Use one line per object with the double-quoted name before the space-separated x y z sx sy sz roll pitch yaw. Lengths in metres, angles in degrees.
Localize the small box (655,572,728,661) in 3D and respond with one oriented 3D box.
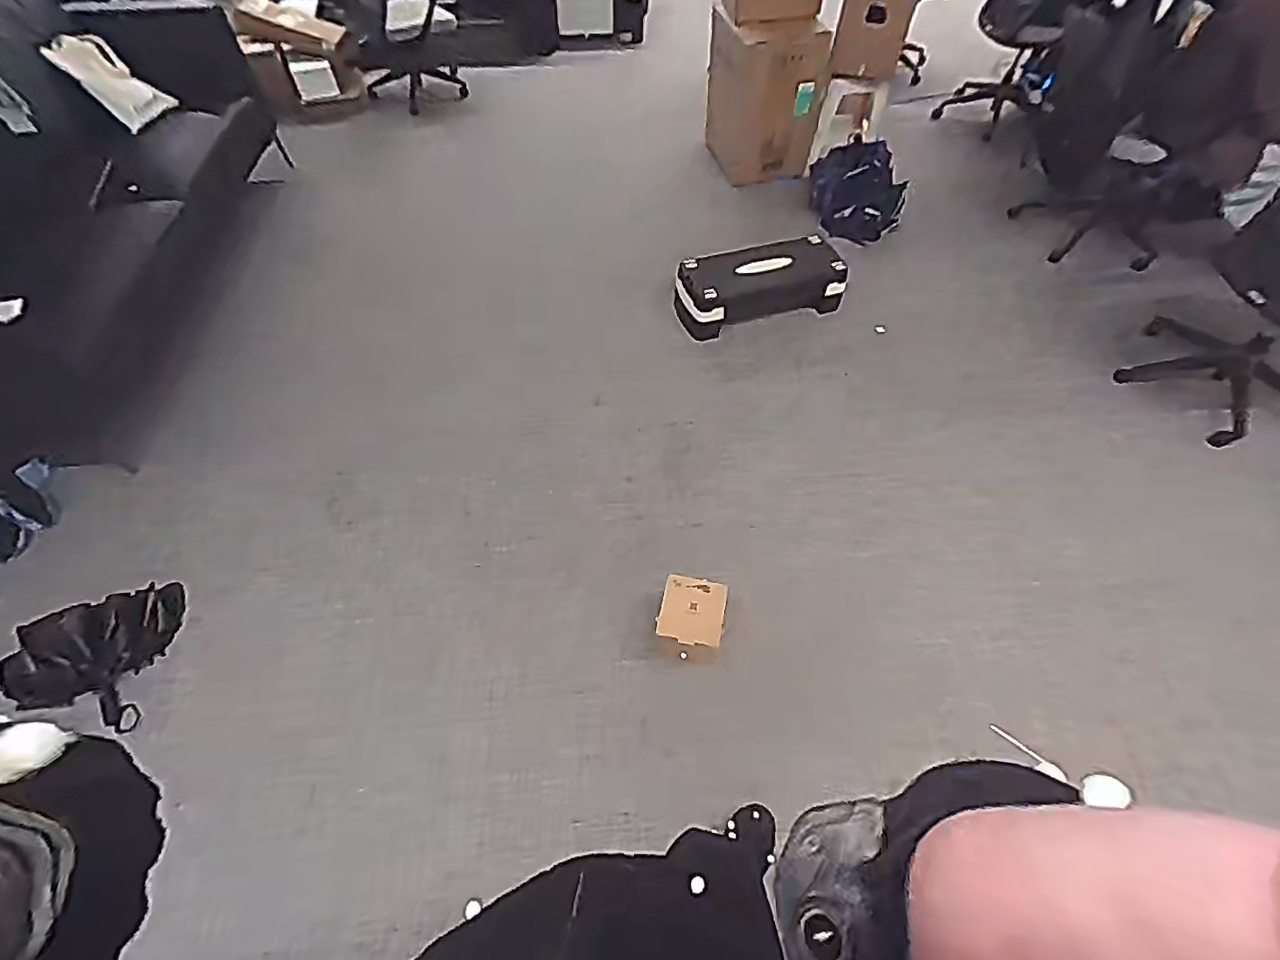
"small box" 0.140 0.376 1.470 0.168 0.176 0.179 10 57 8
